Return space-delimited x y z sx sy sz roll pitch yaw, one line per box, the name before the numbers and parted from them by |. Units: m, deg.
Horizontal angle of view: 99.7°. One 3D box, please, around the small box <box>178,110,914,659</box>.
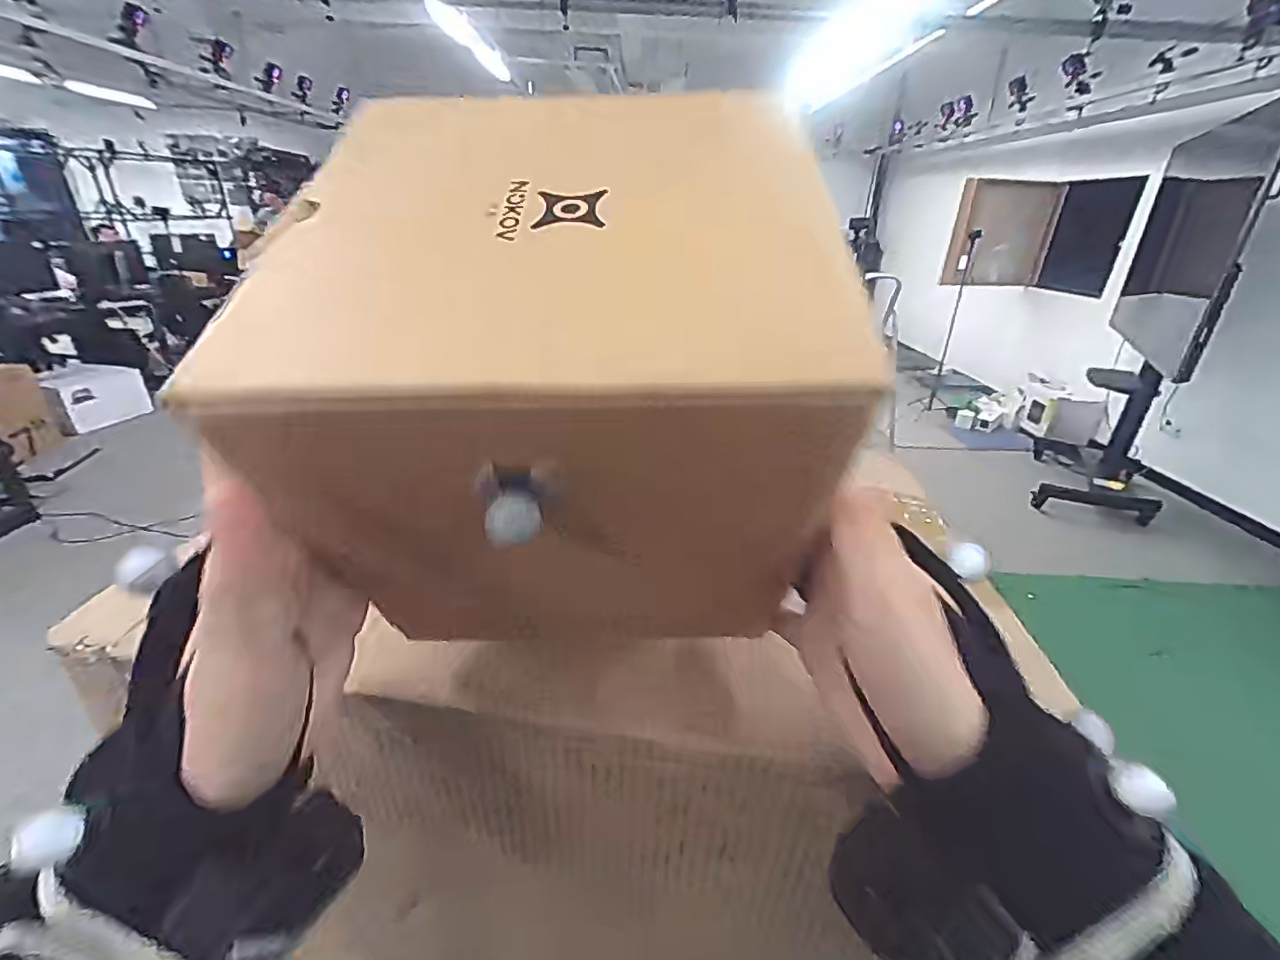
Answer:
small box | -0.020 -0.027 0.234 0.179 0.176 0.168 -1 57 2
